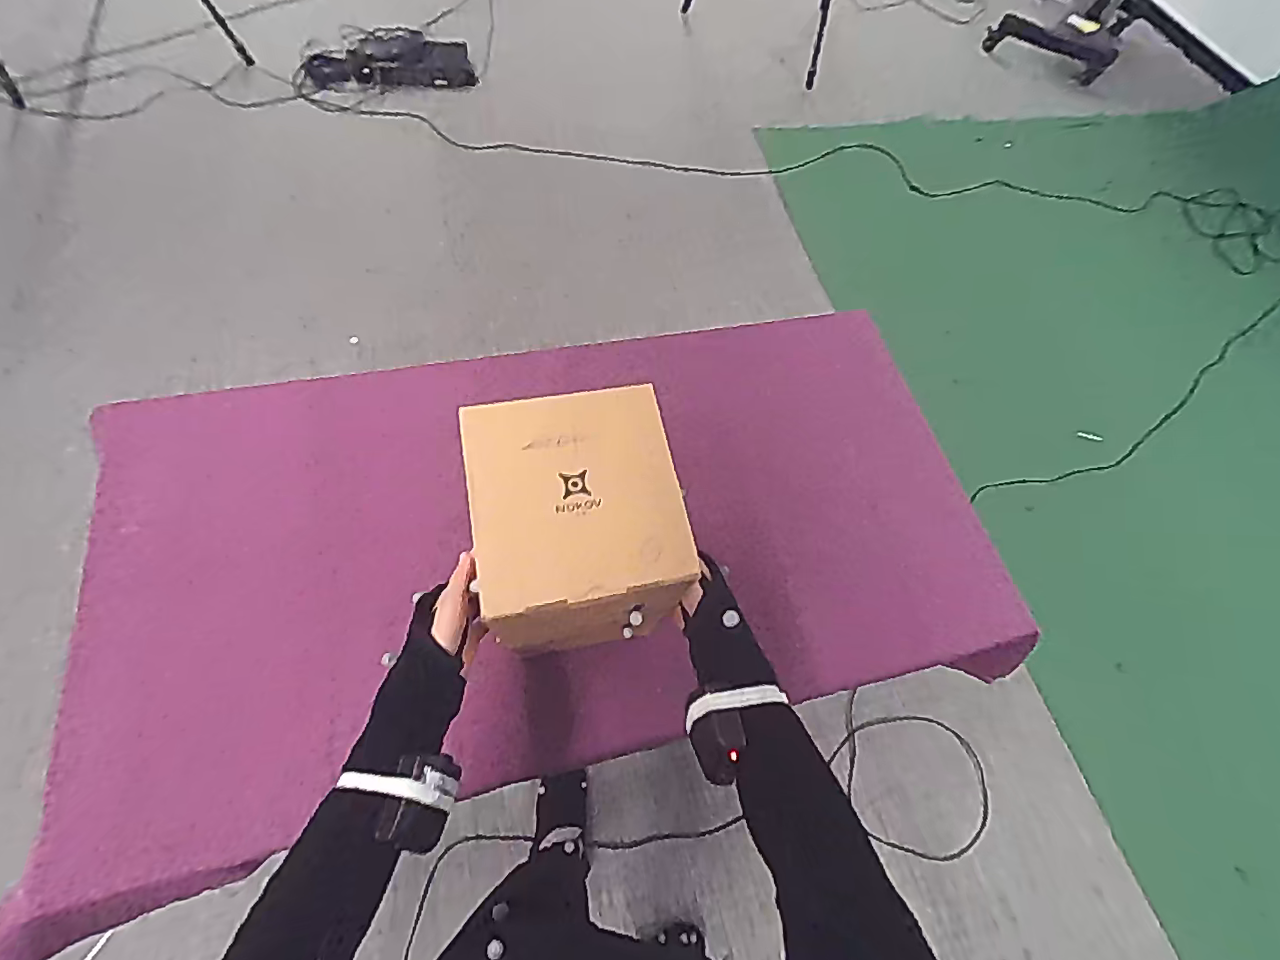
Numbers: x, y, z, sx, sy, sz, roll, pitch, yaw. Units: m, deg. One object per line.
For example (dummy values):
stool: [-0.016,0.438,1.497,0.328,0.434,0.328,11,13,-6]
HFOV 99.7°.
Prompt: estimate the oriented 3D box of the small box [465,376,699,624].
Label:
small box: [-0.057,0.029,0.503,0.168,0.176,0.179,-9,68,-11]

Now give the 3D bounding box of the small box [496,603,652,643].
small box: [-0.080,0.092,0.651,0.179,0.176,0.168,-8,68,-11]
